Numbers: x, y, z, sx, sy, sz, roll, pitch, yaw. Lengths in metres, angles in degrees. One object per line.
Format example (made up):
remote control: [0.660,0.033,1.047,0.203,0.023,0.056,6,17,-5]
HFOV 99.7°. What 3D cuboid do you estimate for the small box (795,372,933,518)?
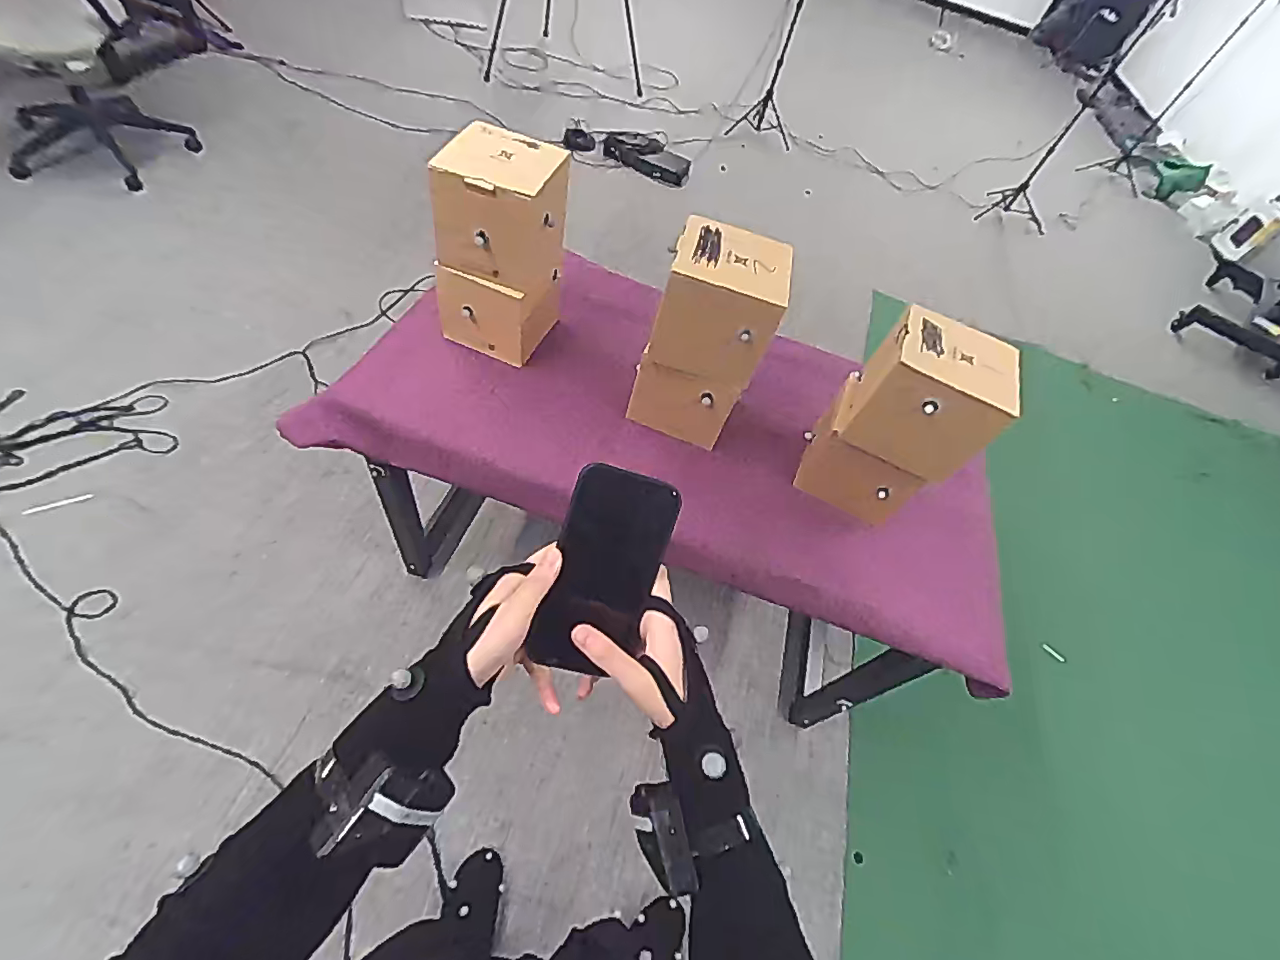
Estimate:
small box: [0.410,-0.056,0.977,0.179,0.176,0.168,27,54,7]

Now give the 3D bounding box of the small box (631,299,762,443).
small box: [0.099,-0.194,0.999,0.179,0.176,0.168,22,54,3]

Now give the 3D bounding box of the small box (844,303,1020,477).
small box: [0.444,-0.133,0.836,0.179,0.176,0.168,27,54,5]

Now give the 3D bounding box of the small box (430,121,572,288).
small box: [-0.223,-0.452,0.901,0.168,0.176,0.179,19,54,-1]

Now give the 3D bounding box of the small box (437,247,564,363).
small box: [-0.256,-0.354,1.029,0.168,0.176,0.179,22,54,3]
